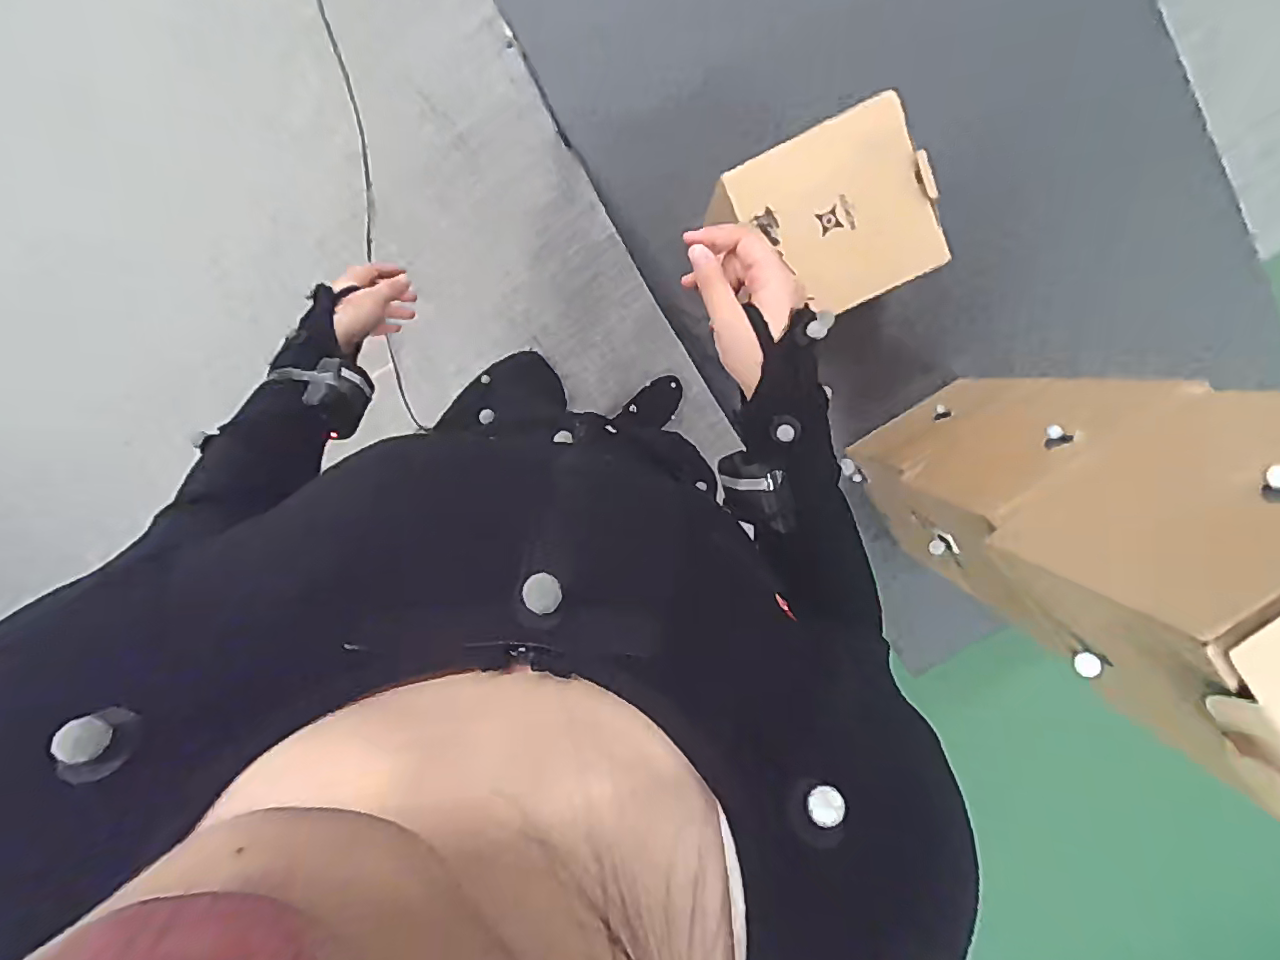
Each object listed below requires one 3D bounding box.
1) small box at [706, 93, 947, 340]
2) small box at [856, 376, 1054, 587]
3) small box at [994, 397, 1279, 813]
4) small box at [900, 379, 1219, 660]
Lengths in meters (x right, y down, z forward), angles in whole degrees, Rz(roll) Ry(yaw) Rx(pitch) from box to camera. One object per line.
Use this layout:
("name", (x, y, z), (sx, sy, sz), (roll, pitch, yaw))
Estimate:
("small box", (0.188, -0.267, 0.594), (0.179, 0.176, 0.168), (-24, 100, 5))
("small box", (0.384, -0.006, 0.642), (0.179, 0.176, 0.168), (-32, 99, 5))
("small box", (0.370, 0.063, 0.322), (0.179, 0.176, 0.168), (-39, 96, 7))
("small box", (0.377, 0.024, 0.482), (0.179, 0.176, 0.168), (-35, 98, 7))
